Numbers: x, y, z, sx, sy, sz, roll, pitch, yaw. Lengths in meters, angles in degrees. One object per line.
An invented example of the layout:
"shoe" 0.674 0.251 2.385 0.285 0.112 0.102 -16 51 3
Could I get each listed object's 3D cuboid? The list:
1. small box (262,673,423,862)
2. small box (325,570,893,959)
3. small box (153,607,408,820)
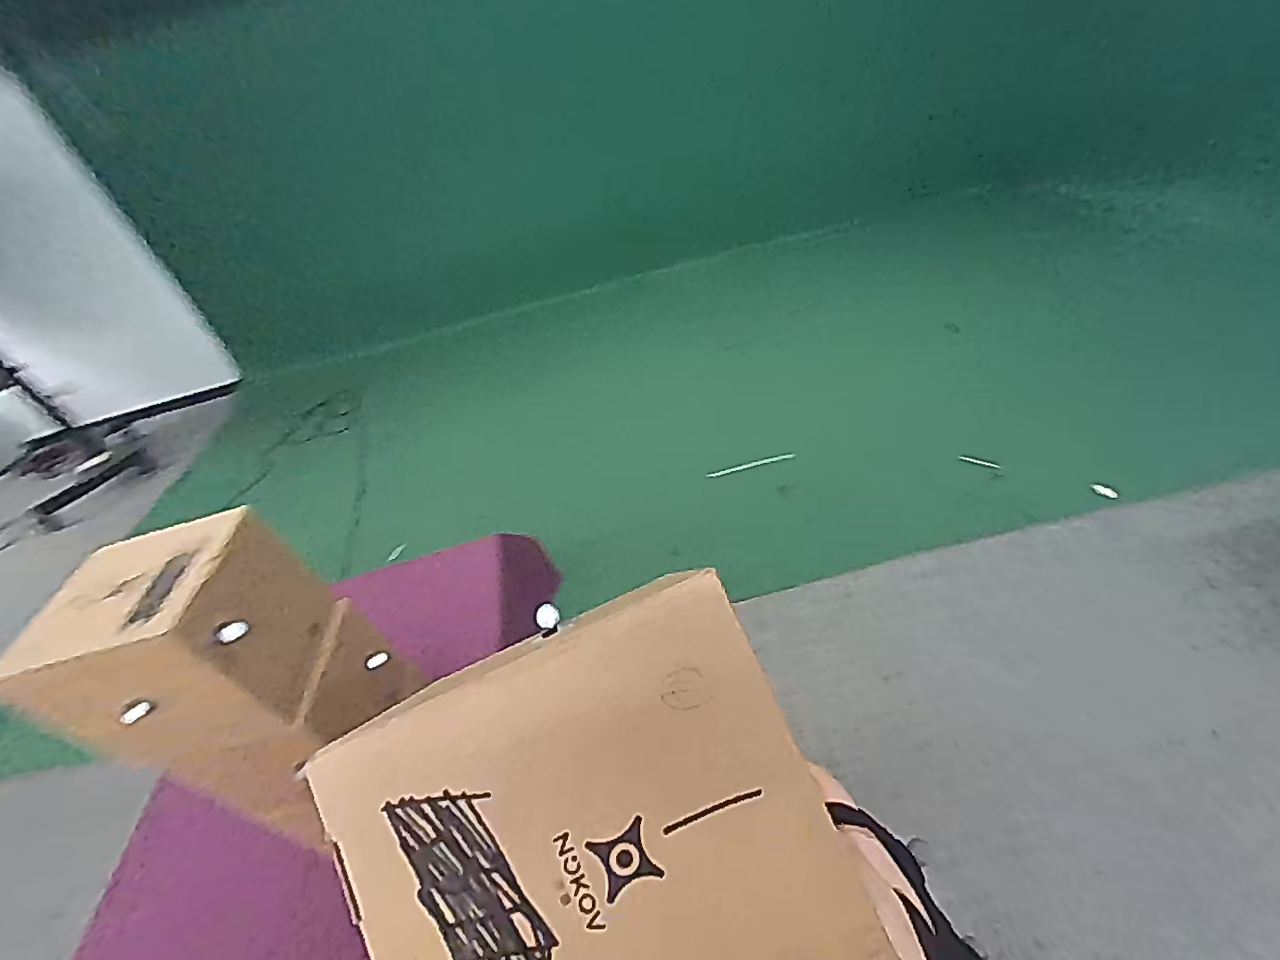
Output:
"small box" -0.377 0.411 0.774 0.179 0.176 0.168 -17 38 1
"small box" -0.016 0.159 0.285 0.179 0.176 0.168 -23 81 -7
"small box" -0.419 0.290 0.672 0.179 0.176 0.168 -16 39 3
